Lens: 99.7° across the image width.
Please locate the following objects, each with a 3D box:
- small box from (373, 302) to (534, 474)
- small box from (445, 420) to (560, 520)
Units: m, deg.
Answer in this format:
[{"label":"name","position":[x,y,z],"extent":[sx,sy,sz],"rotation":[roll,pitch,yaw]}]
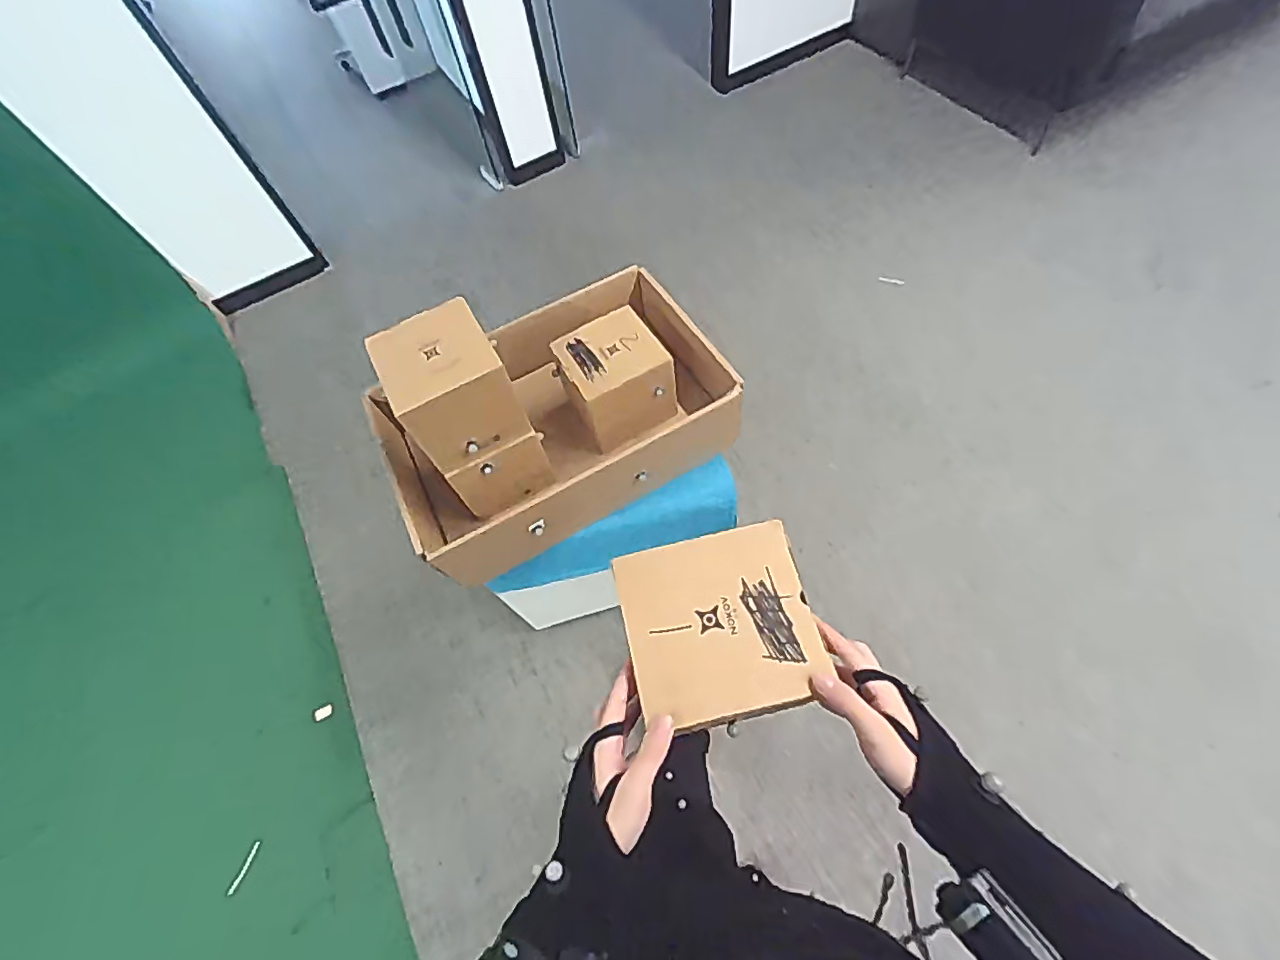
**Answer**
[{"label":"small box","position":[-0.291,-0.143,0.866],"extent":[0.168,0.176,0.179],"rotation":[-28,61,-9]},{"label":"small box","position":[-0.269,-0.057,1.003],"extent":[0.168,0.176,0.179],"rotation":[-28,60,-8]}]
